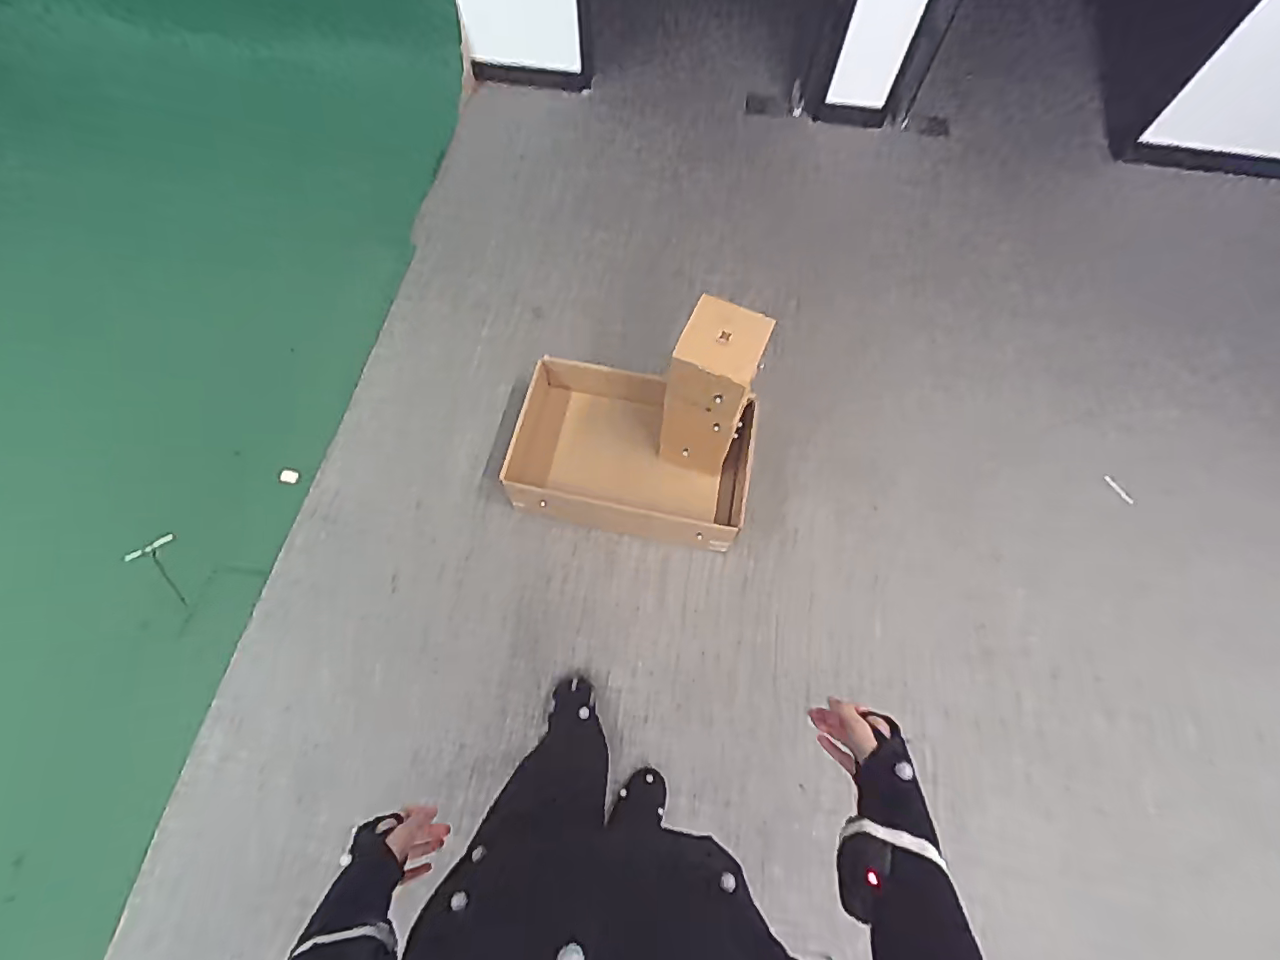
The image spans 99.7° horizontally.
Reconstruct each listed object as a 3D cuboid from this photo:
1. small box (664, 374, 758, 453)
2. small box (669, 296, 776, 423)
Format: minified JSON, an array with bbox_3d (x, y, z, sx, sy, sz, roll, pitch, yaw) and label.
[{"bbox_3d":[0.166,-0.187,1.313,0.179,0.176,0.168,21,69,8],"label":"small box"},{"bbox_3d":[0.170,-0.251,1.164,0.168,0.176,0.179,25,69,7],"label":"small box"}]
